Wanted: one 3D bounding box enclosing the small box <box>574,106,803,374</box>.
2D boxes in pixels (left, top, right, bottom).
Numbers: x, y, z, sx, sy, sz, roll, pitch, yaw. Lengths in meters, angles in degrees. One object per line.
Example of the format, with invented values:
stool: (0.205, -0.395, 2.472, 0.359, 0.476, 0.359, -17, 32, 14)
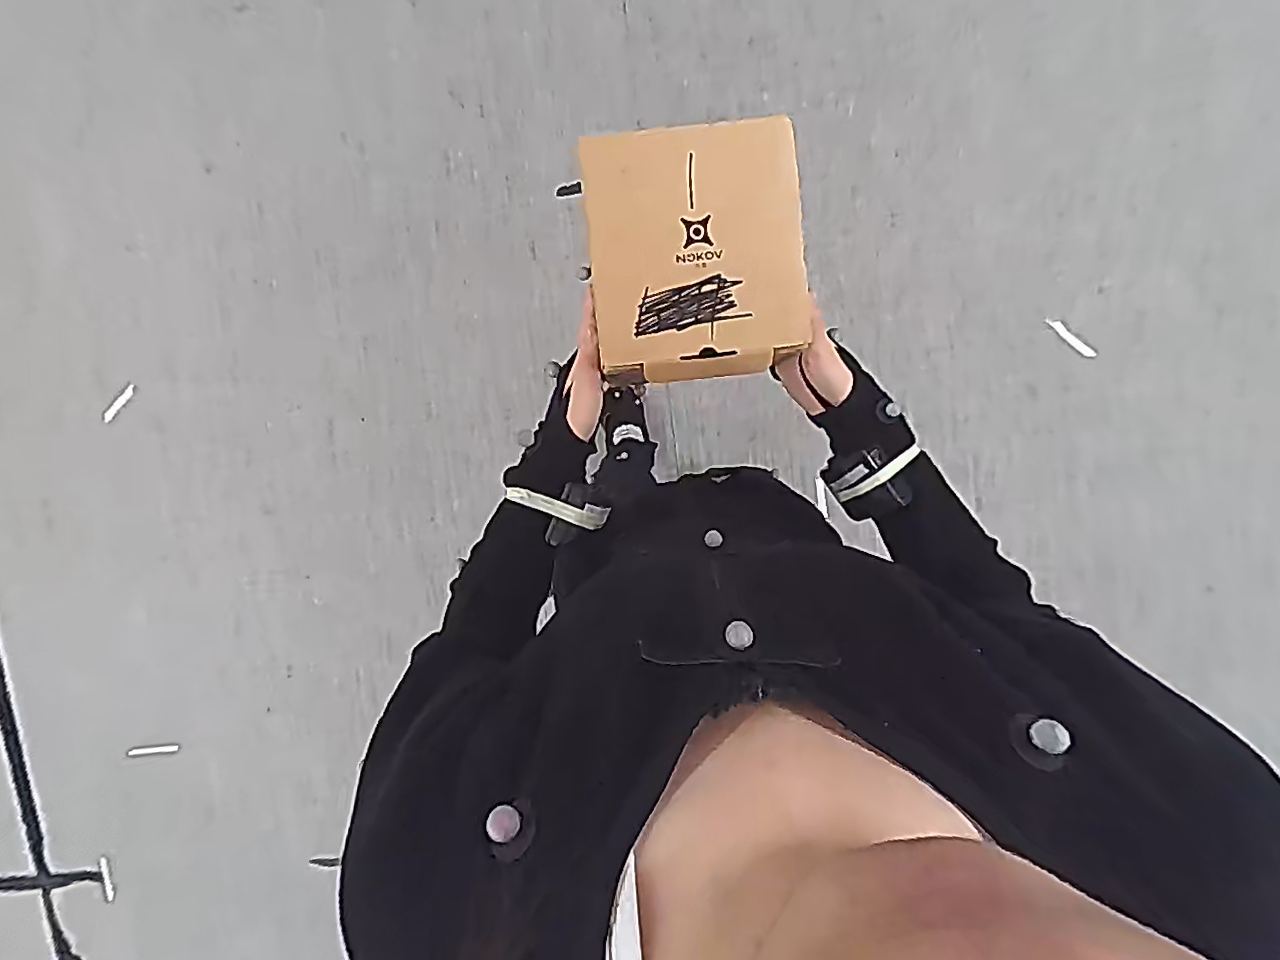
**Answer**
small box: (0.038, -0.194, 0.490, 0.168, 0.176, 0.179, -6, 94, -1)
